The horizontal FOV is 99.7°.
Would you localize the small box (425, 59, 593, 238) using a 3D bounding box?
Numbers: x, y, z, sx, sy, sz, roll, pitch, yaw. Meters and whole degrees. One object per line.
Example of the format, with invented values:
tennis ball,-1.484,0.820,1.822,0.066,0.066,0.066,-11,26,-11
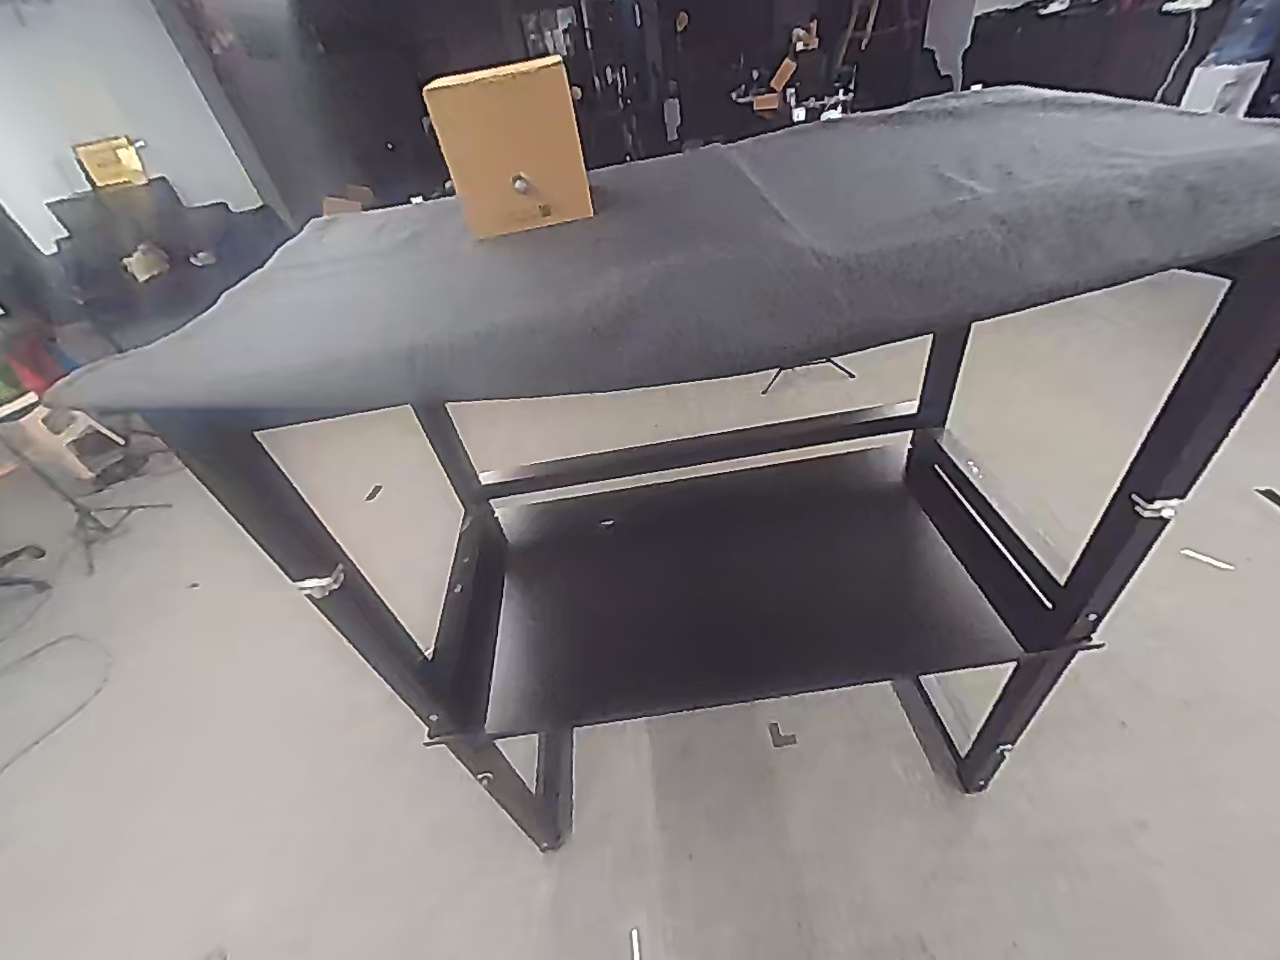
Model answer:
small box,-0.163,-0.445,0.728,0.168,0.176,0.179,-12,41,0
